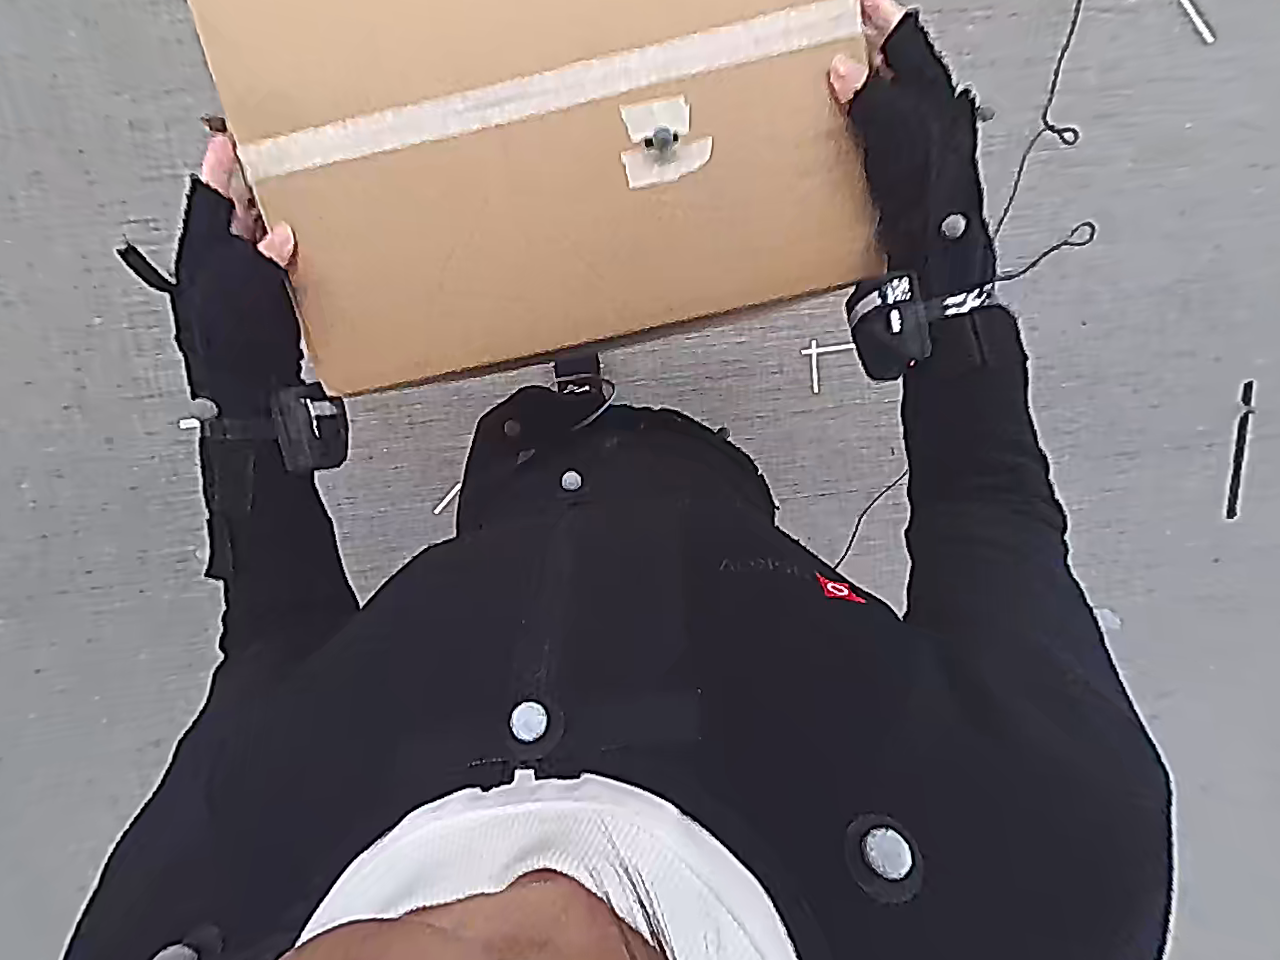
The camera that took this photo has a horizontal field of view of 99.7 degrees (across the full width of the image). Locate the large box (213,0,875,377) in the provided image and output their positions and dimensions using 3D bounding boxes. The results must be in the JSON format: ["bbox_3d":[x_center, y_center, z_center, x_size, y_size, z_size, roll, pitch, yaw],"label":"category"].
[{"bbox_3d":[-0.063,-0.296,0.501,0.408,0.320,0.320,-13,104,1],"label":"large box"}]
